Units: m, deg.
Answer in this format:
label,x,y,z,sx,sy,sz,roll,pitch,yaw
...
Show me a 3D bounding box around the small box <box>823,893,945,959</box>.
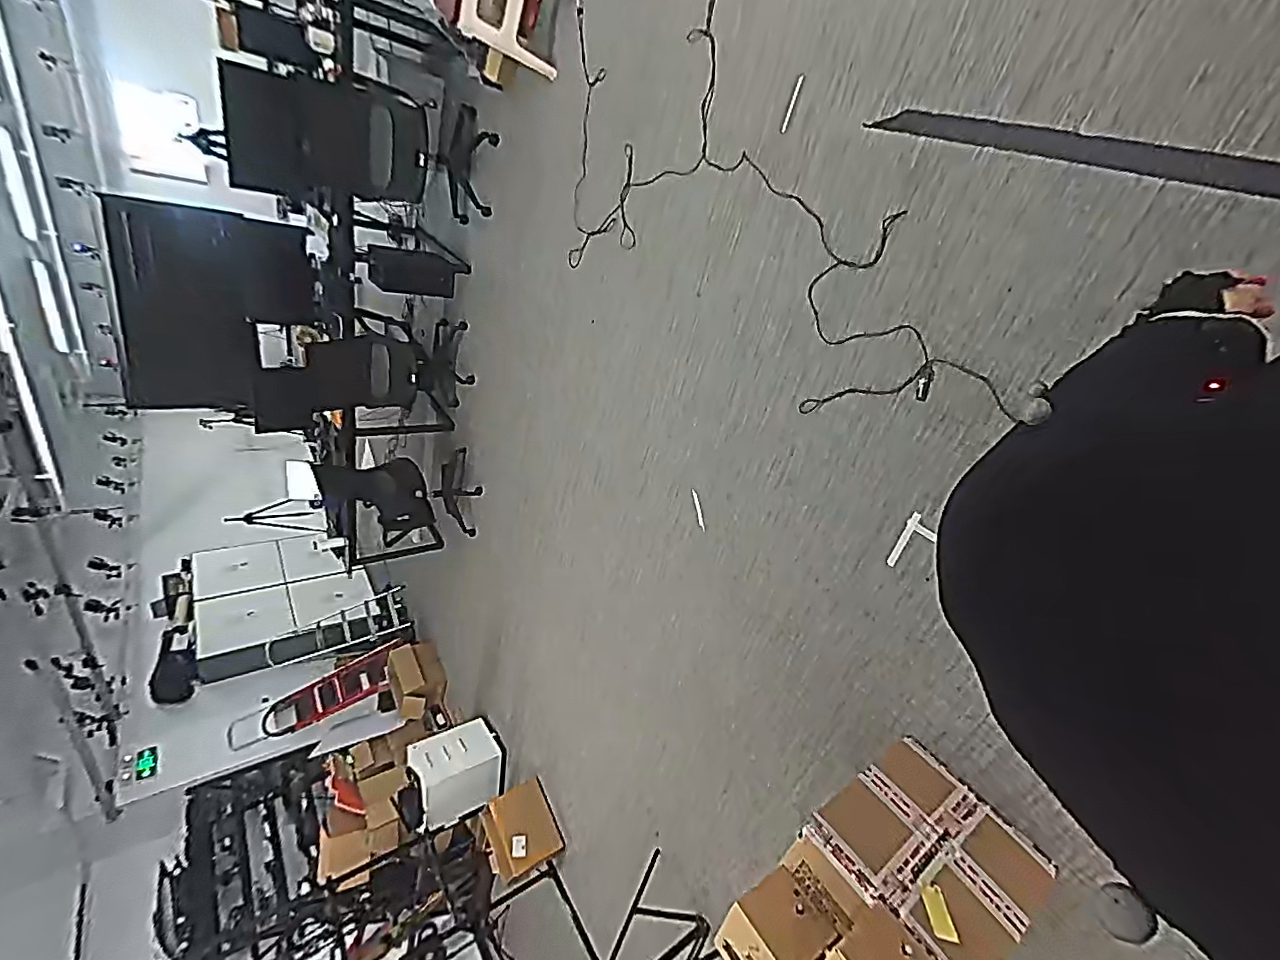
label,x,y,z,sx,sy,sz,roll,pitch,yaw
small box,0.459,0.950,1.018,0.179,0.176,0.168,40,124,41
